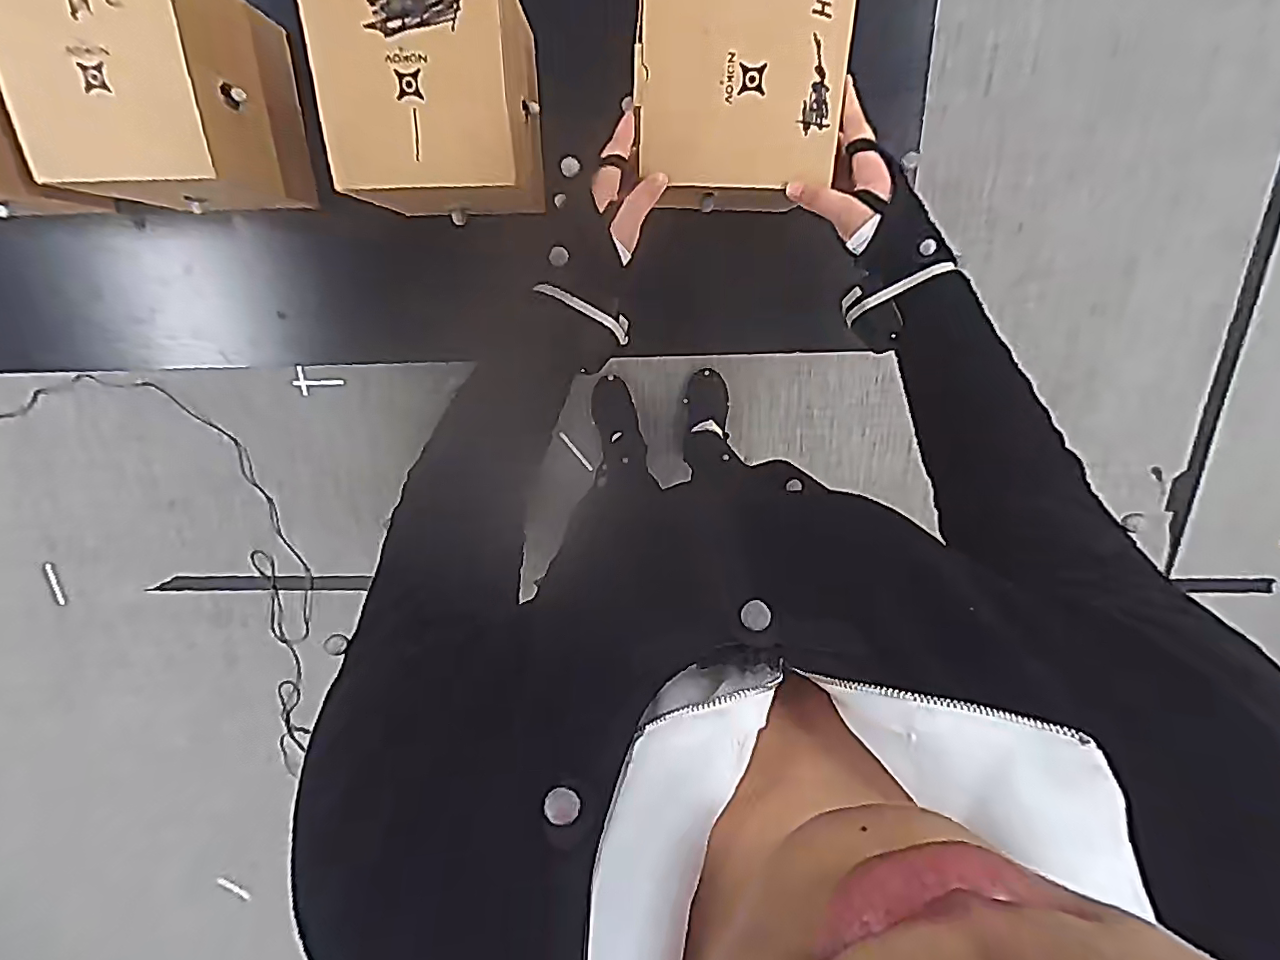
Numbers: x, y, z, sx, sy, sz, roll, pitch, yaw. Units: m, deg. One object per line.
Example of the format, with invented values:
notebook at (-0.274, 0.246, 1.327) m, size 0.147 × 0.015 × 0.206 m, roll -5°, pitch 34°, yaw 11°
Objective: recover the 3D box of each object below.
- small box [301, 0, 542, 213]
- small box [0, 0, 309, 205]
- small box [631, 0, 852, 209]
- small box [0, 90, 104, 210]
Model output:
small box at (-0.195, -0.371, 0.532) m, size 0.168 × 0.176 × 0.179 m, roll -1°, pitch 110°, yaw 0°
small box at (-0.460, -0.375, 0.529) m, size 0.168 × 0.176 × 0.179 m, roll -1°, pitch 109°, yaw 0°
small box at (0.084, -0.366, 0.527) m, size 0.179 × 0.176 × 0.168 m, roll 2°, pitch 111°, yaw 0°
small box at (-0.700, -0.371, 0.532) m, size 0.168 × 0.176 × 0.179 m, roll -2°, pitch 108°, yaw -1°
